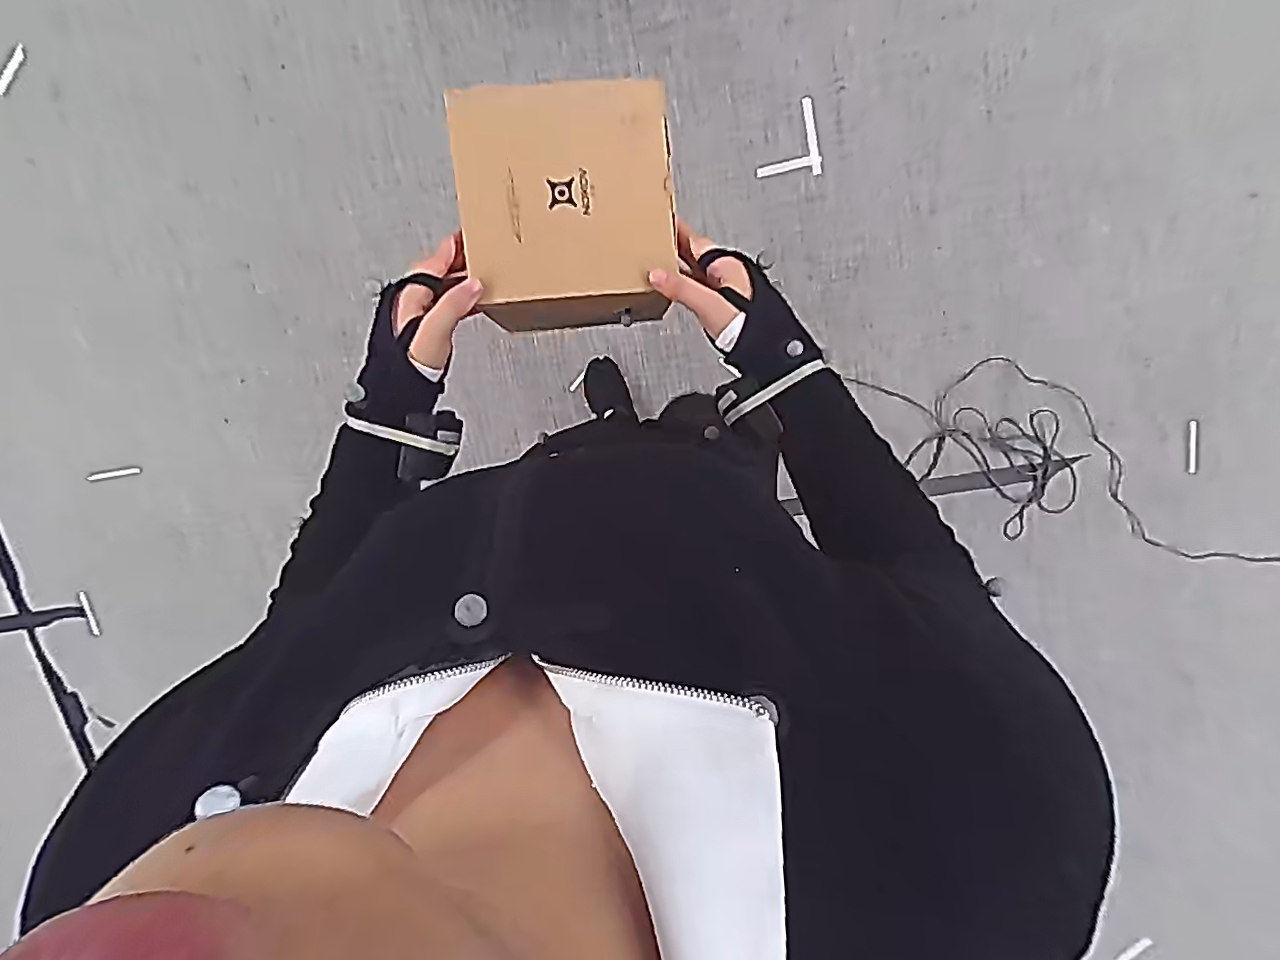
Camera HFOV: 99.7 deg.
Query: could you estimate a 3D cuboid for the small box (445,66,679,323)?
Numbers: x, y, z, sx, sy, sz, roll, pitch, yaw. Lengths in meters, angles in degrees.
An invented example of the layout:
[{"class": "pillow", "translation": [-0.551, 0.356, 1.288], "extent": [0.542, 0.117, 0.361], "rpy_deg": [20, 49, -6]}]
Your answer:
[{"class": "small box", "translation": [-0.066, -0.253, 0.517], "extent": [0.179, 0.176, 0.168], "rpy_deg": [-6, 97, -2]}]
